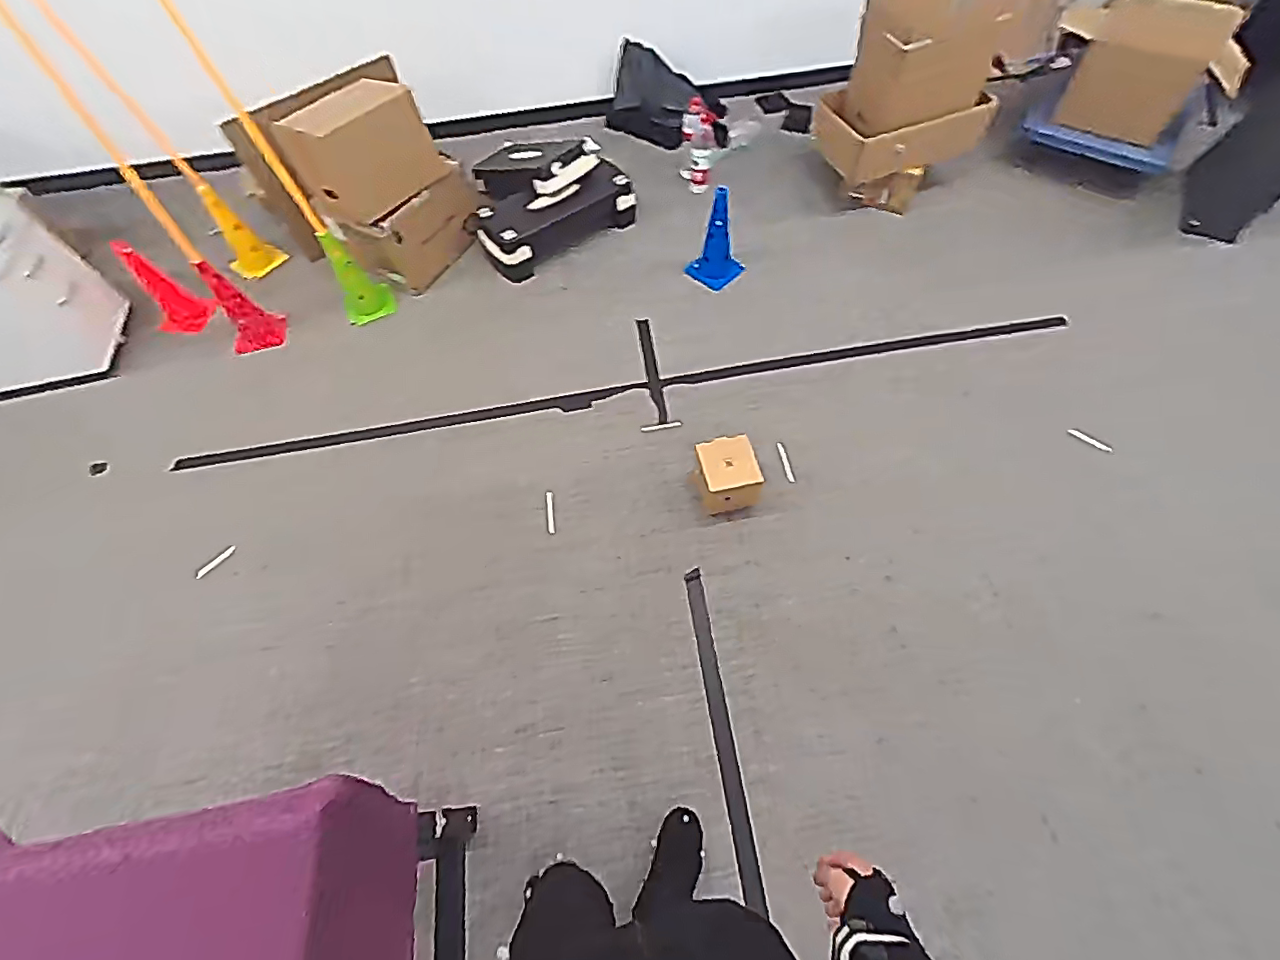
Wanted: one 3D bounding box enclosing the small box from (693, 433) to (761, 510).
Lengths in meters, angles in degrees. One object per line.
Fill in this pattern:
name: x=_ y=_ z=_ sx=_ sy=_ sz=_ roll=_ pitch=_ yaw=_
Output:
small box: x=0.269 y=-0.020 z=1.707 sx=0.168 sy=0.176 sz=0.179 roll=-12 pitch=60 yaw=-4
